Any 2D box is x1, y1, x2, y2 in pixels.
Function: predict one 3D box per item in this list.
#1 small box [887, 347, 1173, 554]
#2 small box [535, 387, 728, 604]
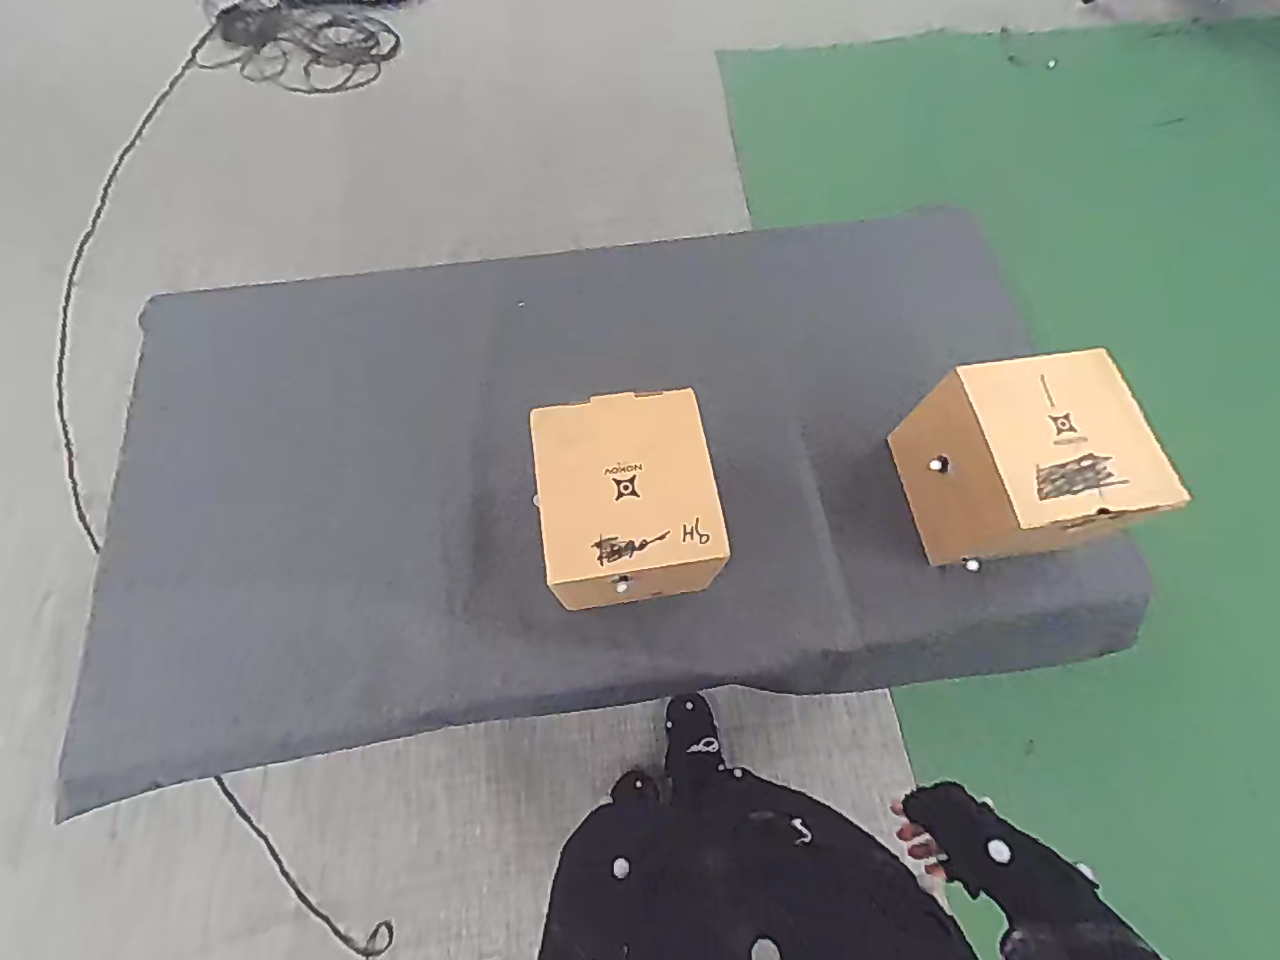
[{"bbox_3d":[0.410,-0.021,0.607,0.168,0.176,0.179,-7,68,-3],"label":"small box"},{"bbox_3d":[-0.015,0.024,0.585,0.168,0.176,0.179,-8,69,-4],"label":"small box"}]
